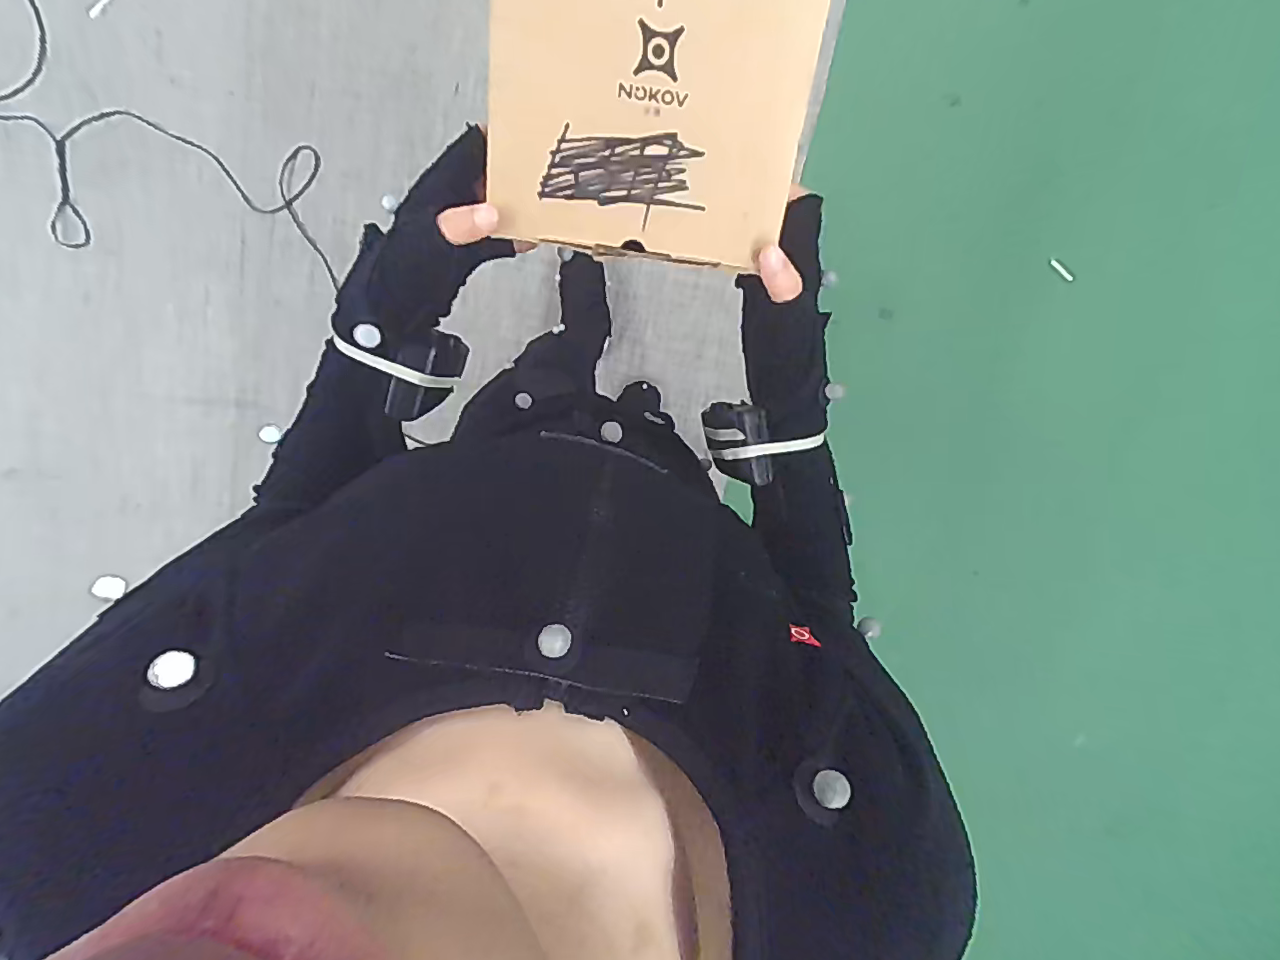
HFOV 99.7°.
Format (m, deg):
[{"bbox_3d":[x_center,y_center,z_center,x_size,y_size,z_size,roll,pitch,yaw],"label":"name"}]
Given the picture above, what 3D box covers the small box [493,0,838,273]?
[{"bbox_3d":[0.009,-0.240,0.348,0.168,0.176,0.179,6,112,-5],"label":"small box"}]
